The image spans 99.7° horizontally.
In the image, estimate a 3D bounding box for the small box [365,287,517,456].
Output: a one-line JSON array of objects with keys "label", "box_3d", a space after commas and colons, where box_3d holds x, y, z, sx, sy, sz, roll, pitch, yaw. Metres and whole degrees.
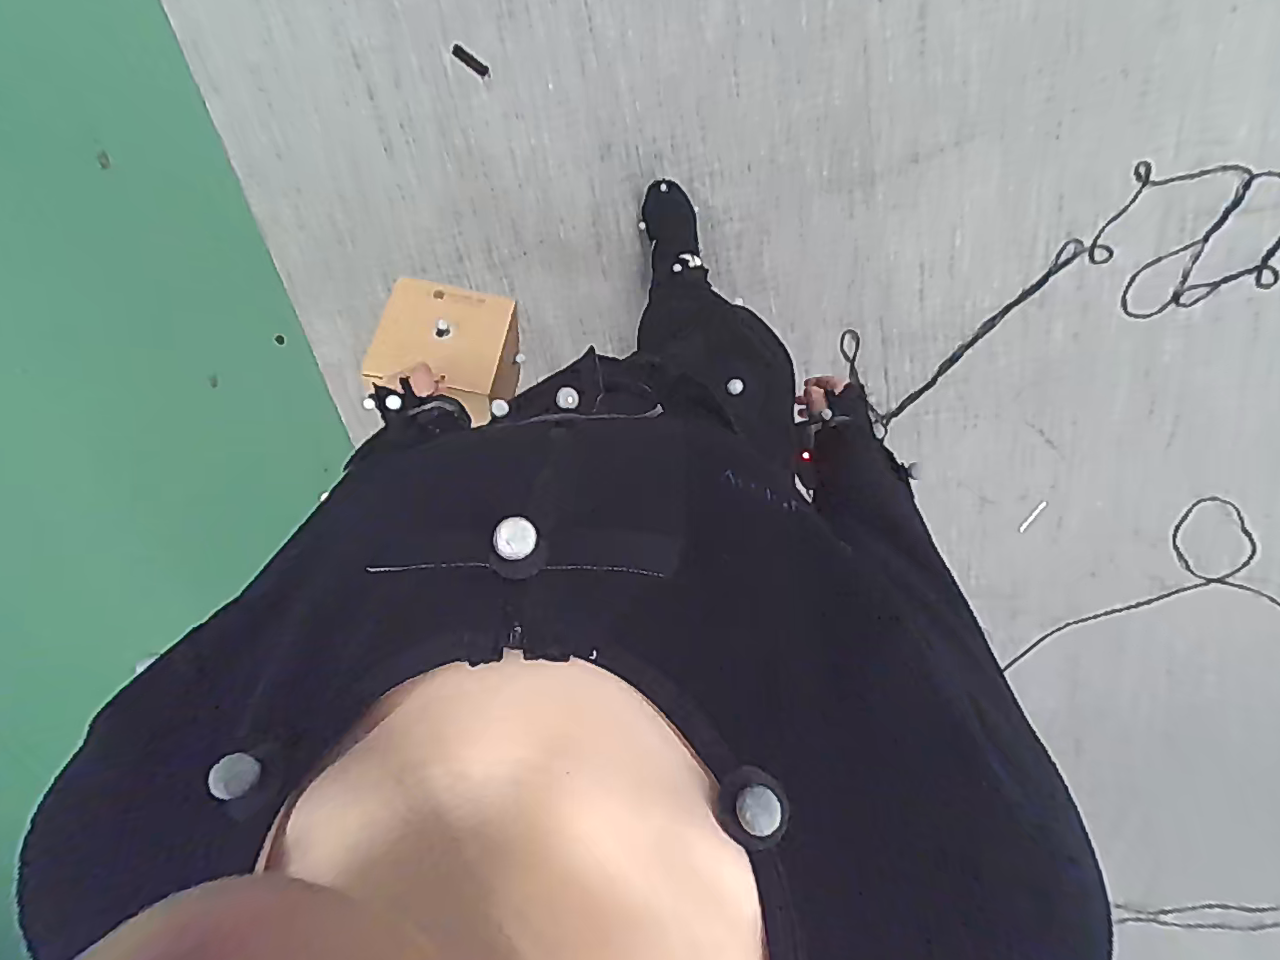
[{"label": "small box", "box_3d": [-0.280, -0.158, 0.803, 0.168, 0.176, 0.179, 7, 152, -6]}]
